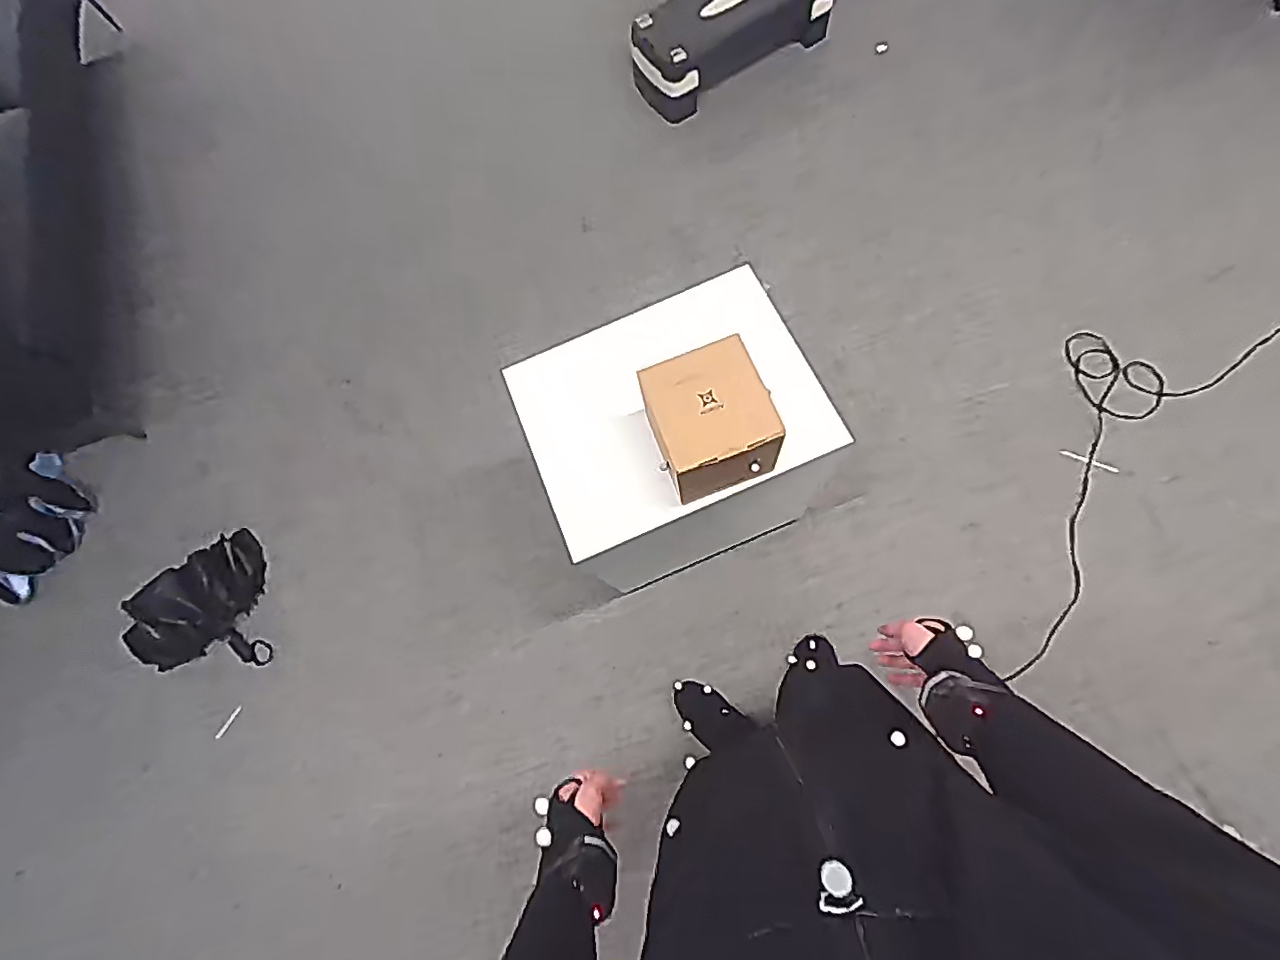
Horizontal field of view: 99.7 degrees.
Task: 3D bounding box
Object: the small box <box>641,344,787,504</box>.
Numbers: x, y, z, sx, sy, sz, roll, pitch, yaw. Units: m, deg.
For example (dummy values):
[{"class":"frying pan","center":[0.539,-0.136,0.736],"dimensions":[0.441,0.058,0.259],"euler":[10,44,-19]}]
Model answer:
[{"class":"small box","center":[0.114,-0.075,0.854],"dimensions":[0.168,0.176,0.179],"euler":[-21,69,-1]}]
